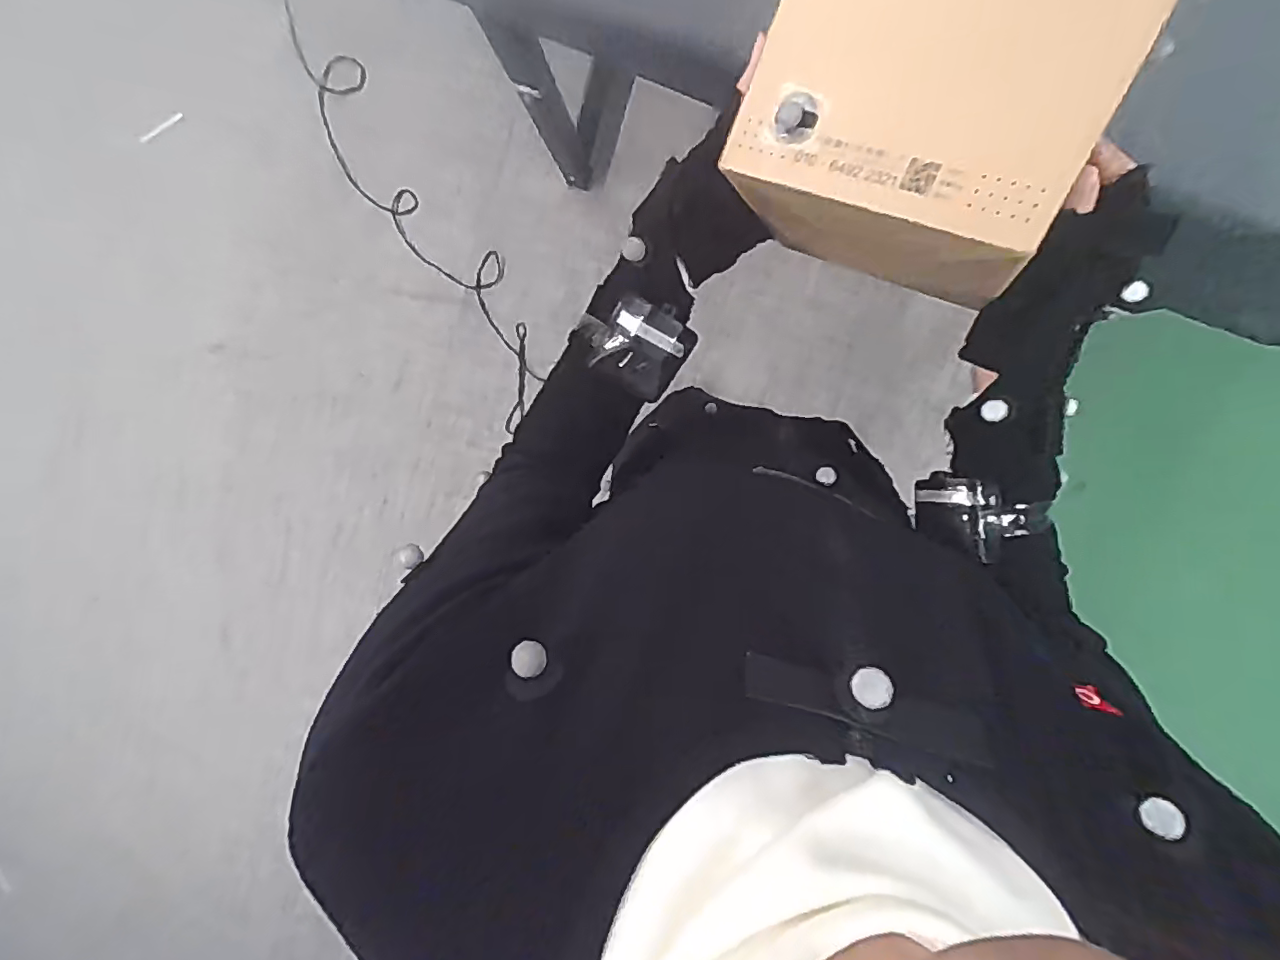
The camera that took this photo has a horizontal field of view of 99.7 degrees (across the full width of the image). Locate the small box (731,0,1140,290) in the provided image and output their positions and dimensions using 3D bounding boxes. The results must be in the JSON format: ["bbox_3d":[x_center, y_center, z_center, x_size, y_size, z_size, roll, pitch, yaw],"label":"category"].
[{"bbox_3d":[0.175,-0.233,0.335,0.168,0.179,0.176,29,108,19],"label":"small box"}]
